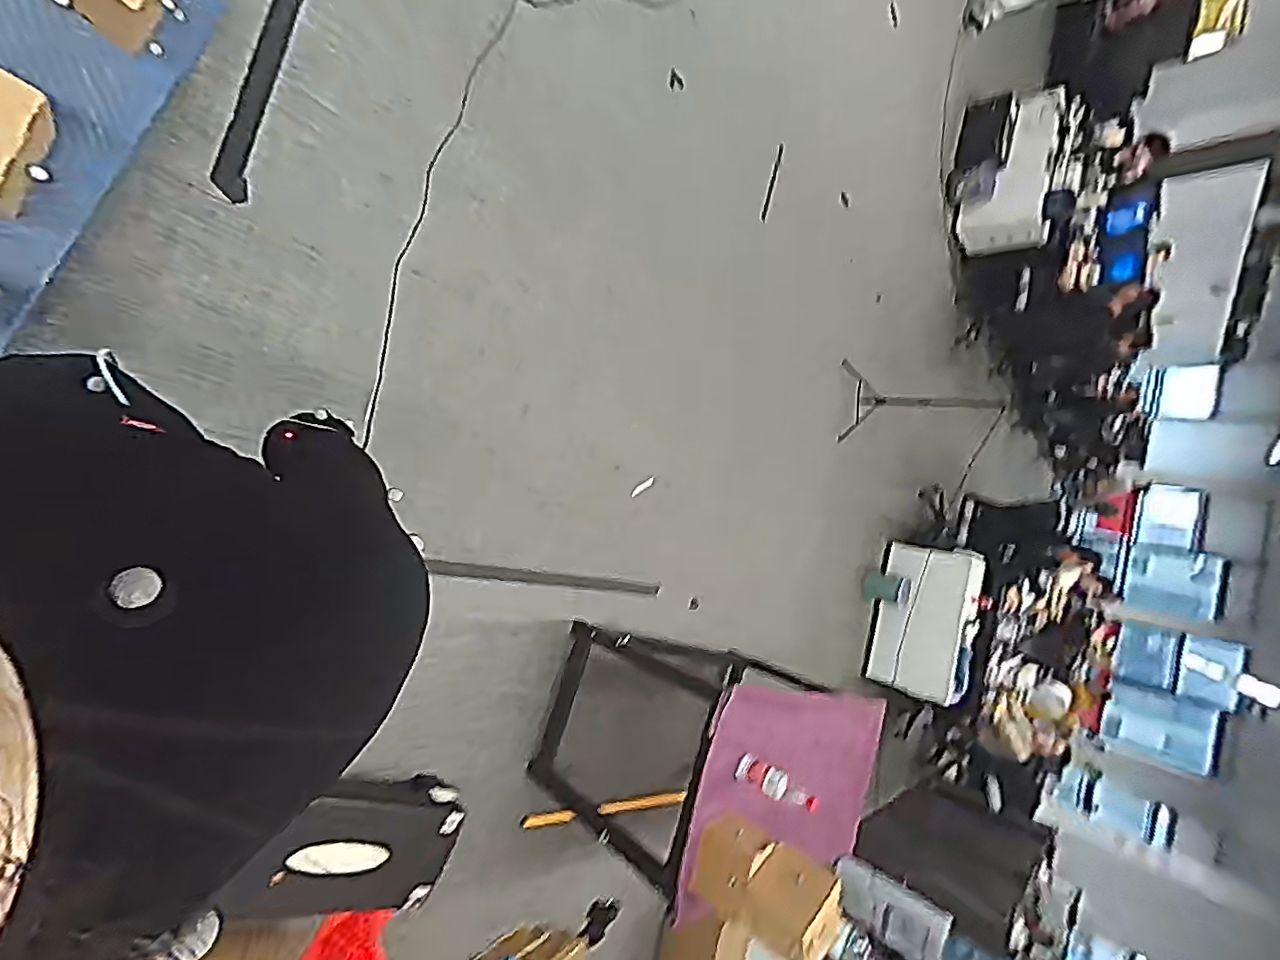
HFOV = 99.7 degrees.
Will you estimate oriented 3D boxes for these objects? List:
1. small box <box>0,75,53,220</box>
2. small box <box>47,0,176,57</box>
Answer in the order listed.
[{"bbox_3d":[-0.974,-0.493,0.750,0.179,0.176,0.168,25,79,-44],"label":"small box"},{"bbox_3d":[-0.836,-0.817,0.832,0.168,0.176,0.179,32,76,-43],"label":"small box"}]
